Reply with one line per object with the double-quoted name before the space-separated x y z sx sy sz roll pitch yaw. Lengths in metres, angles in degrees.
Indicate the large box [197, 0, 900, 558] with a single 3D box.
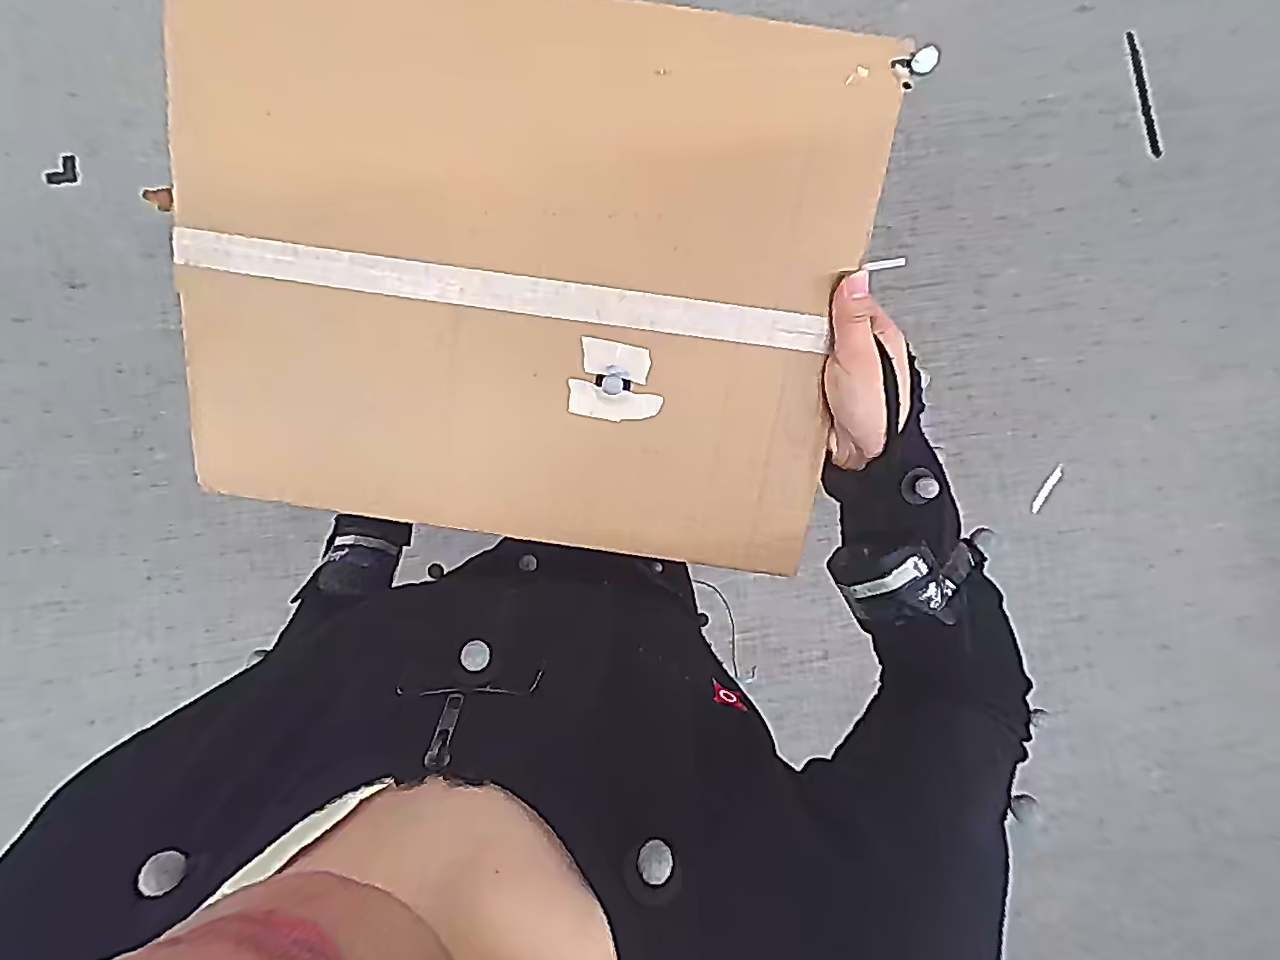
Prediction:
"large box" -0.066 -0.148 0.480 0.408 0.320 0.320 7 105 -1
